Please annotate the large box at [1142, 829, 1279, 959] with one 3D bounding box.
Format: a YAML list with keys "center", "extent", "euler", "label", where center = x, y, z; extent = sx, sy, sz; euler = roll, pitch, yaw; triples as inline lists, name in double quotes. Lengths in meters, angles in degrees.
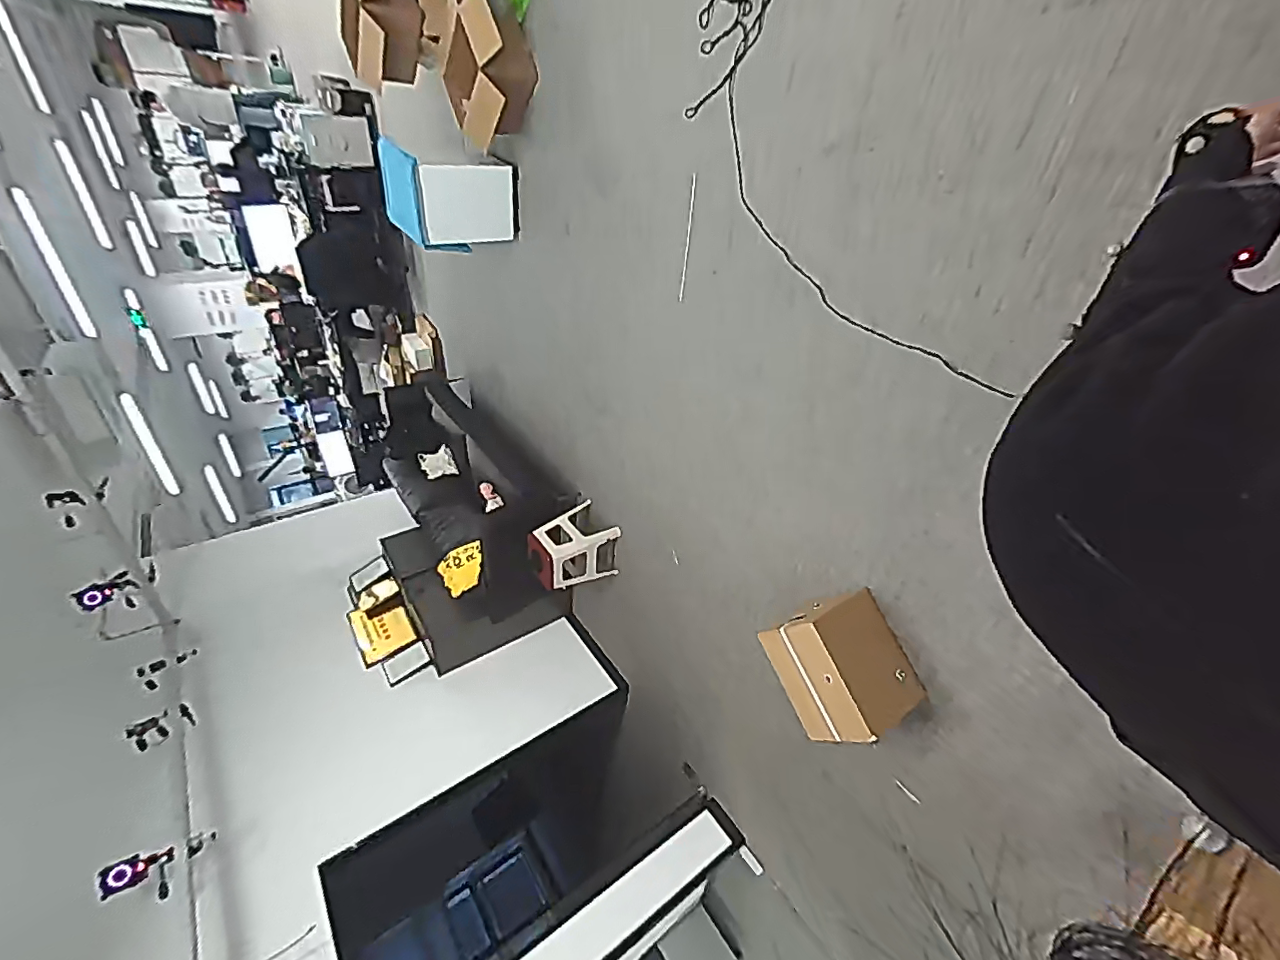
- center: [1.354, 1.053, 1.115]
  extent: [0.408, 0.320, 0.320]
  euler: [26, 128, 48]
  label: "large box"
